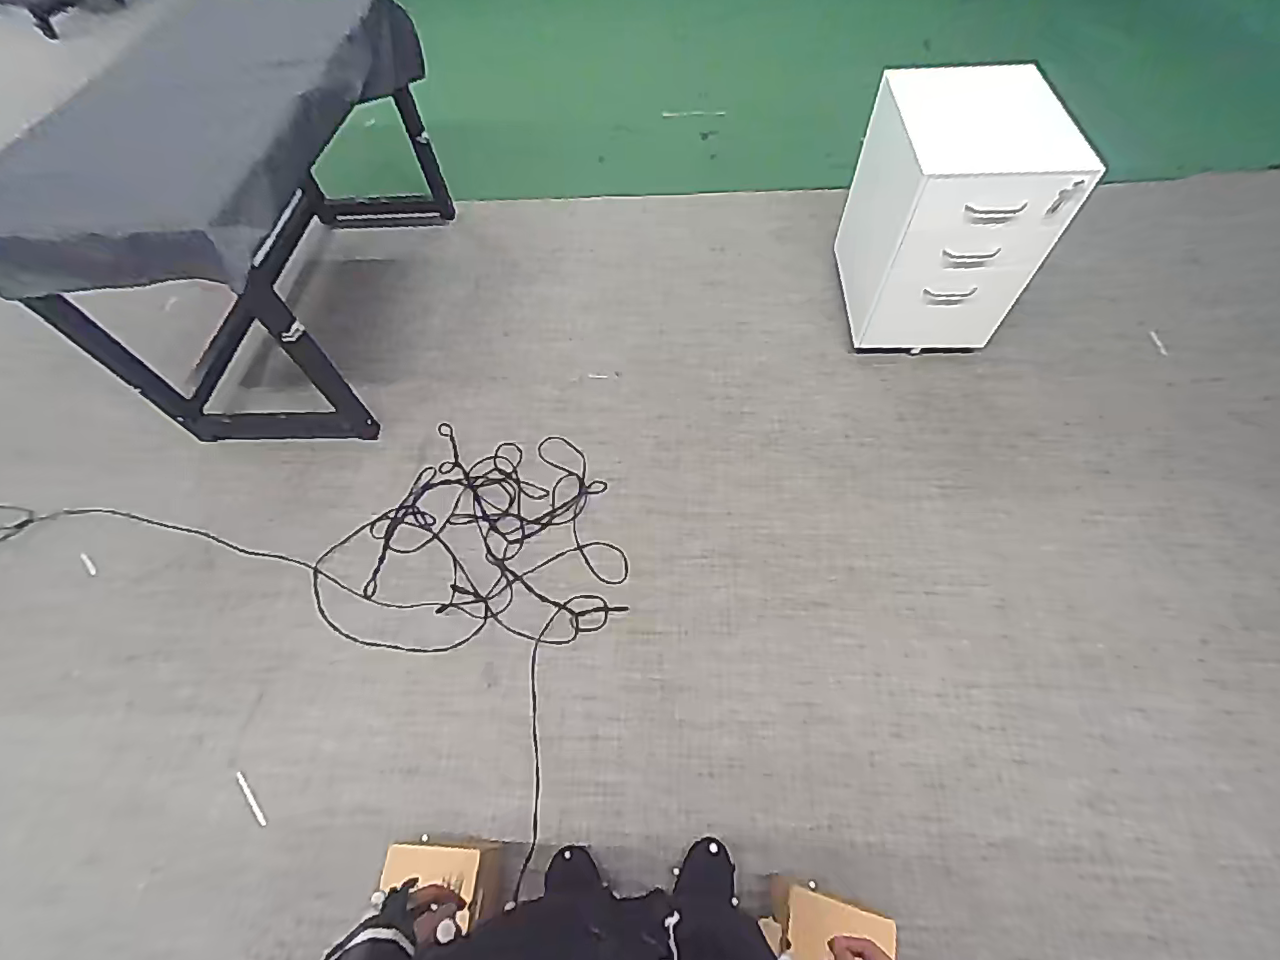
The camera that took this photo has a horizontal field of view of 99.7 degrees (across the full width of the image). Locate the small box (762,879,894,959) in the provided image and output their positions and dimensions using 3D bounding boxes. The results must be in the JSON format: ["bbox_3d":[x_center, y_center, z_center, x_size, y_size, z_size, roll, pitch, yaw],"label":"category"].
[{"bbox_3d":[0.322,0.827,0.945,0.179,0.176,0.168,12,61,11],"label":"small box"}]
